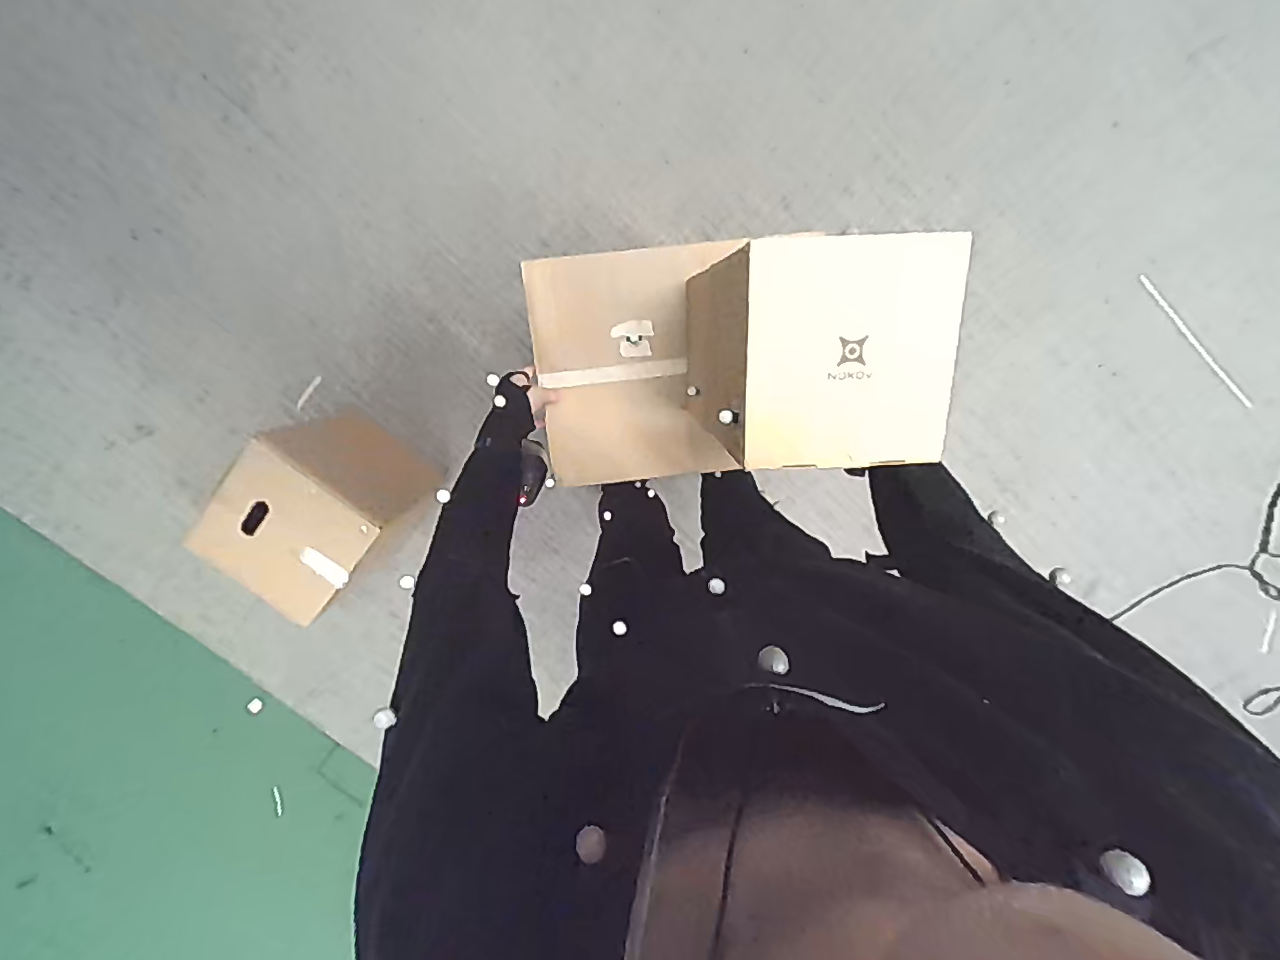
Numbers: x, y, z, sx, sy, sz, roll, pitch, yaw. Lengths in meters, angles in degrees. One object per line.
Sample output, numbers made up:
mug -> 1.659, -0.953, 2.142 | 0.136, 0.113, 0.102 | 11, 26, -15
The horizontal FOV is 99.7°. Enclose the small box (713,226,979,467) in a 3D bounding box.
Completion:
small box -> 0.160, -0.118, 0.484 | 0.168, 0.176, 0.179 | -2, 107, -2
